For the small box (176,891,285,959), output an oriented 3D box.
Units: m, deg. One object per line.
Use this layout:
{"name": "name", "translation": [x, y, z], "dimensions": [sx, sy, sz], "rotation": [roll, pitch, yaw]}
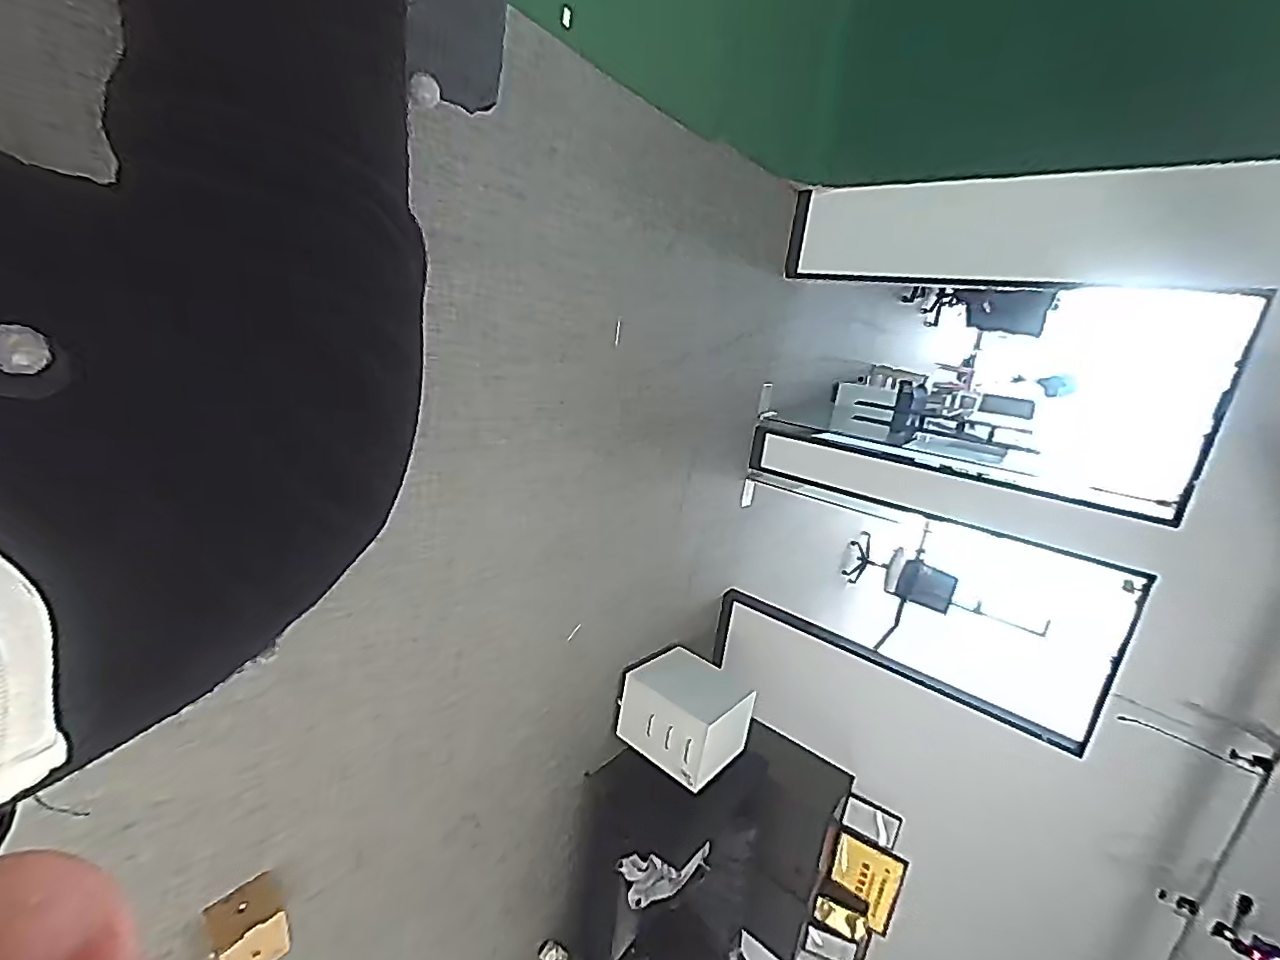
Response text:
{"name": "small box", "translation": [-1.215, 1.371, 1.604], "dimensions": [0.179, 0.176, 0.168], "rotation": [-48, 140, -31]}
